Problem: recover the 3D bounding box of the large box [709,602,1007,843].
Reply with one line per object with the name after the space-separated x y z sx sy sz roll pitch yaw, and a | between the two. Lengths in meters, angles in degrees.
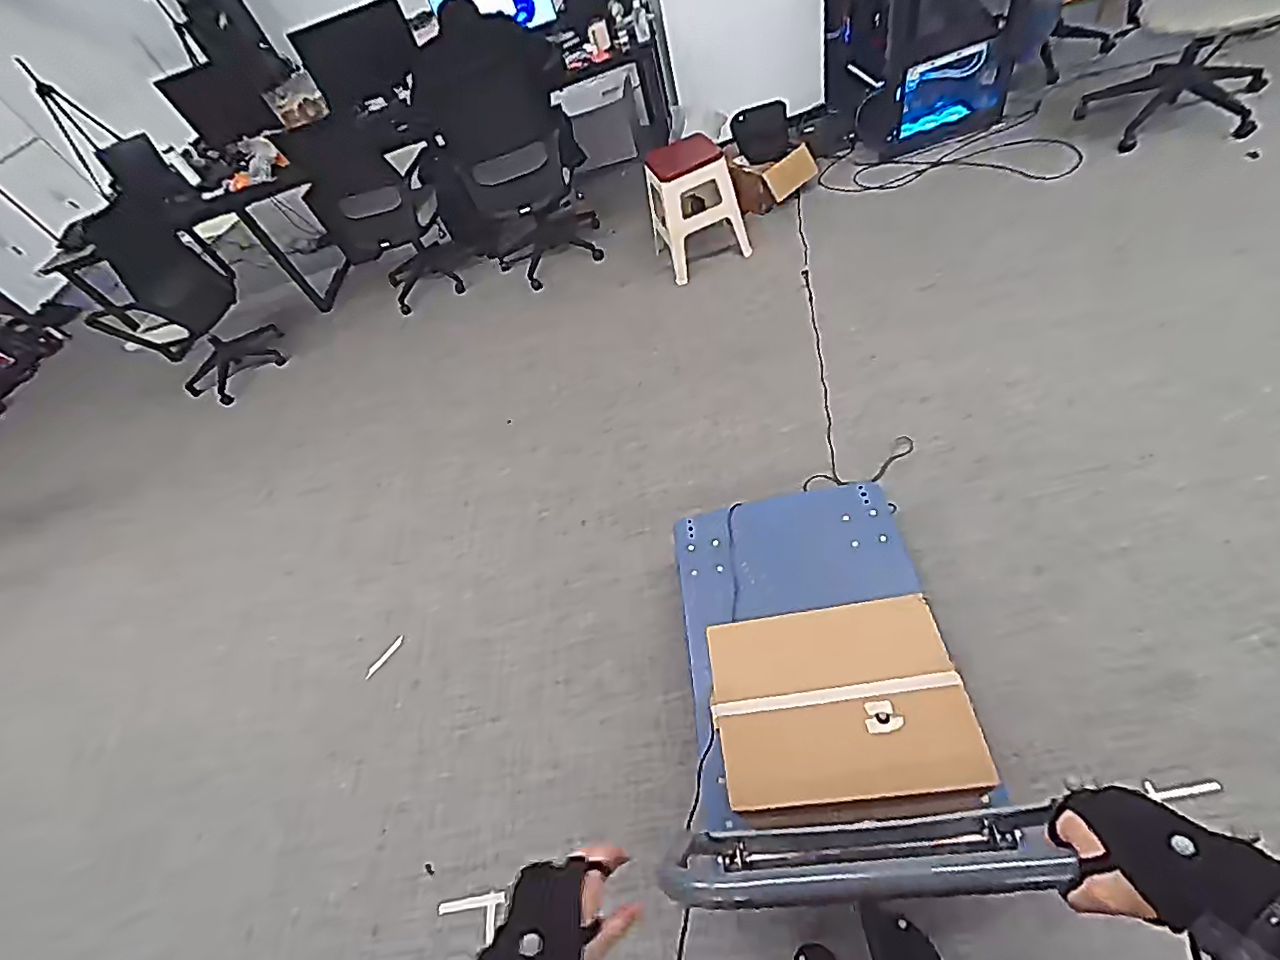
0.367 0.466 1.013 0.408 0.320 0.320 -12 51 9 | large box
